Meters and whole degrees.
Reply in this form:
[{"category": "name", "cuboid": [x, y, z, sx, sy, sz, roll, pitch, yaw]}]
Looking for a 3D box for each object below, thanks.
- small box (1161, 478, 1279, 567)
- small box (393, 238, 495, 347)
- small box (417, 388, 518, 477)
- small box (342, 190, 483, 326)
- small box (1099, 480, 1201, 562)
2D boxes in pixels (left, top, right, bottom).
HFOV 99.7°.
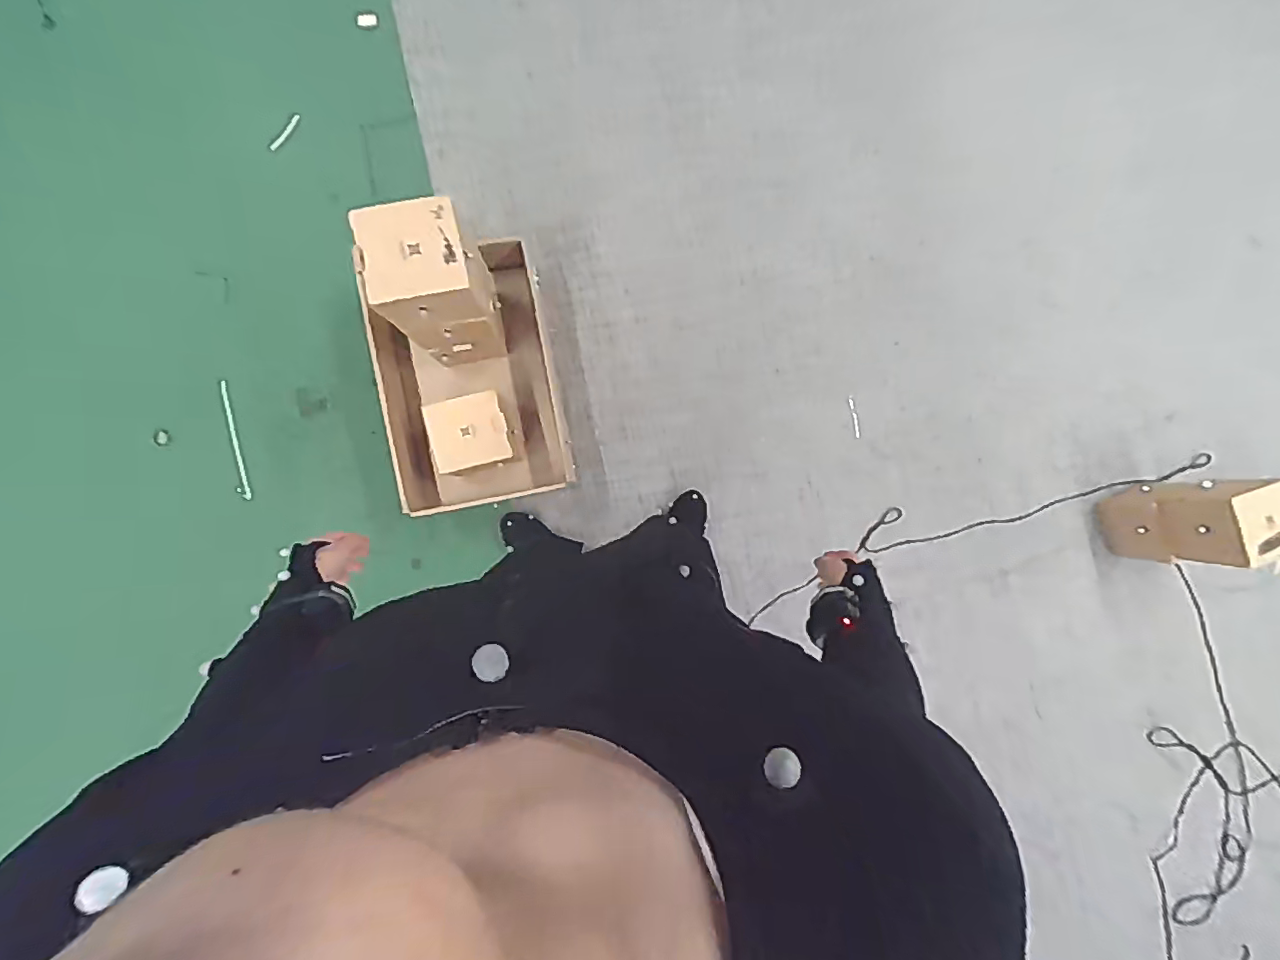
[{"category": "small box", "cuboid": [1.465, 0.099, 1.340, 0.168, 0.176, 0.179, -17, 89, -5]}, {"category": "small box", "cuboid": [-0.422, -0.393, 1.157, 0.179, 0.176, 0.168, -10, 91, -6]}, {"category": "small box", "cuboid": [-0.412, -0.108, 1.315, 0.179, 0.176, 0.168, -16, 89, -6]}, {"category": "small box", "cuboid": [-0.406, -0.396, 0.994, 0.179, 0.176, 0.168, -13, 91, -5]}, {"category": "small box", "cuboid": [1.437, 0.110, 1.502, 0.168, 0.176, 0.179, -21, 91, -4]}]
